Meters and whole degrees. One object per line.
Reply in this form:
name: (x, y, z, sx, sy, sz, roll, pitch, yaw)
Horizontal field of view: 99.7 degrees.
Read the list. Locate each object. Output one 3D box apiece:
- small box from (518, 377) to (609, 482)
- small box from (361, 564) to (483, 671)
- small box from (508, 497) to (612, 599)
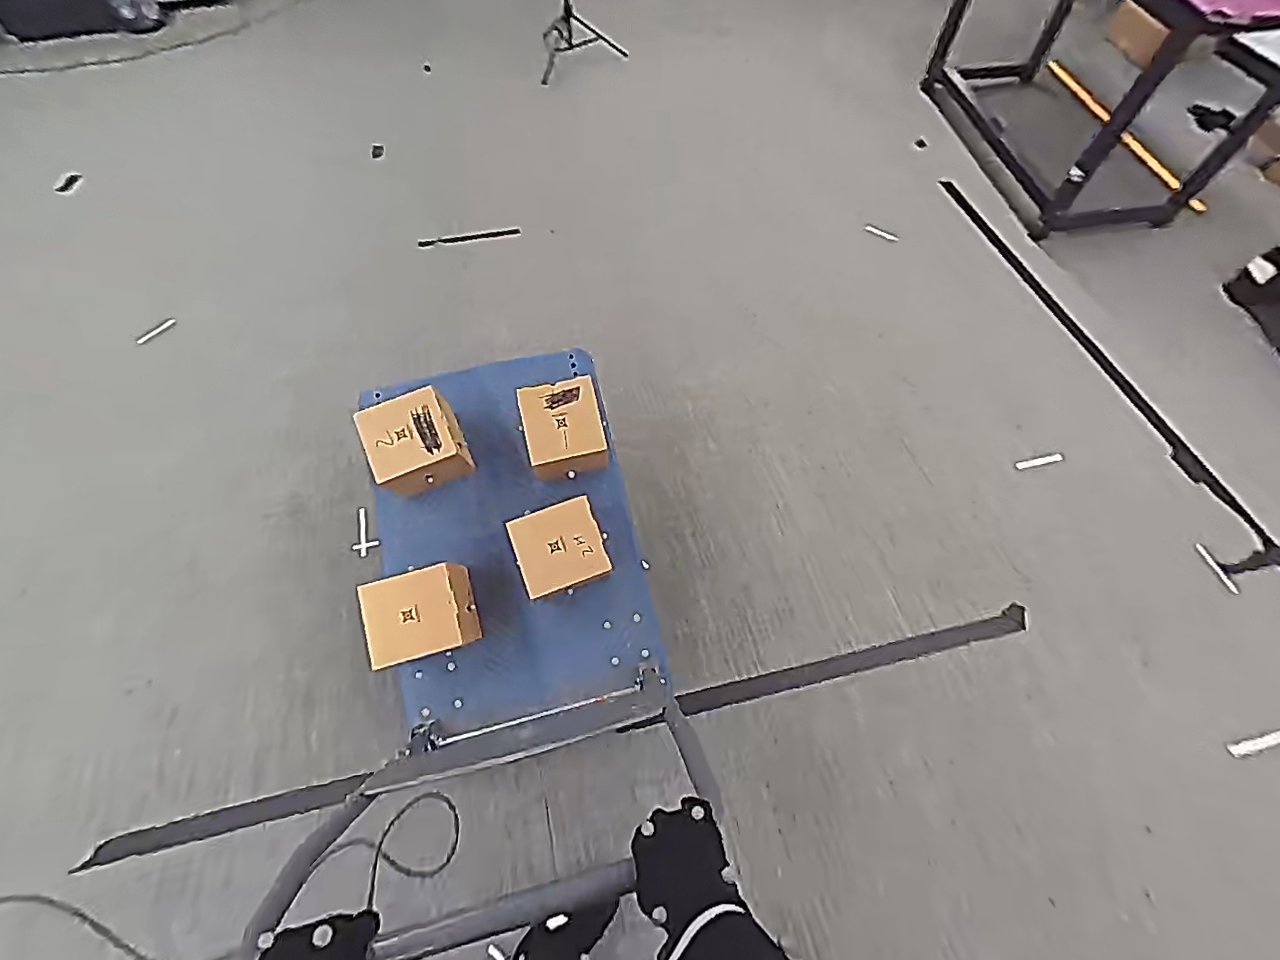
small box: (-0.171, -0.109, 1.231, 0.168, 0.176, 0.179, -13, 80, -6)
small box: (-0.446, 0.285, 1.127, 0.179, 0.176, 0.168, -16, 78, -8)
small box: (-0.166, 0.154, 1.173, 0.179, 0.176, 0.168, -20, 80, -7)
